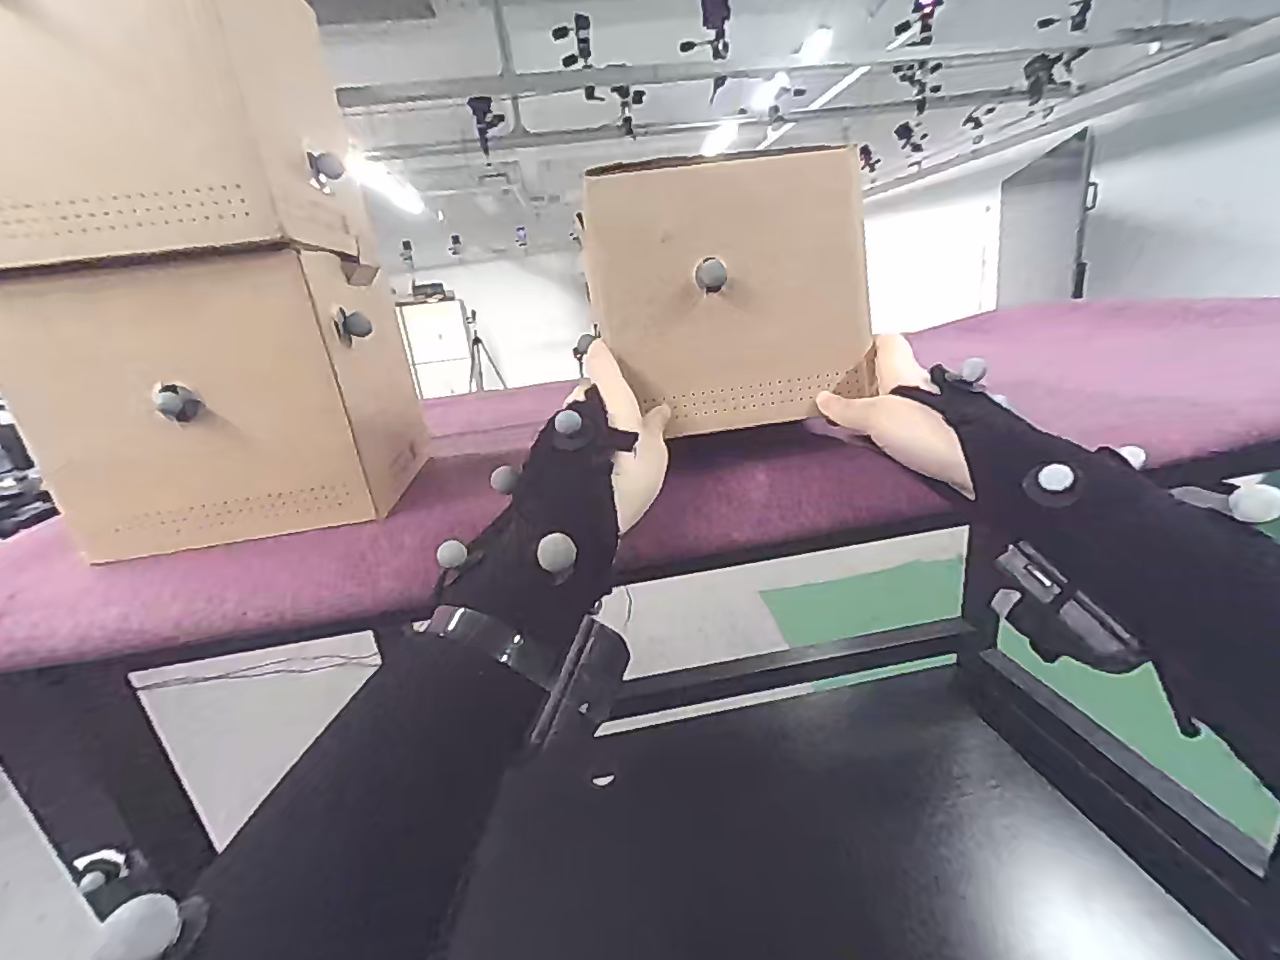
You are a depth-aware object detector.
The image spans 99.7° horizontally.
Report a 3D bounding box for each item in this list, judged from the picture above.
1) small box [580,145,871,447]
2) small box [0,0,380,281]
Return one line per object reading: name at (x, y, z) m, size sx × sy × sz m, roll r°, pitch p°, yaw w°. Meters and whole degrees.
small box at (0.056, -0.122, 0.418) m, size 0.179 × 0.176 × 0.168 m, roll -9°, pitch 9°, yaw -3°
small box at (-0.288, -0.214, 0.325) m, size 0.179 × 0.176 × 0.168 m, roll -8°, pitch 19°, yaw -6°
